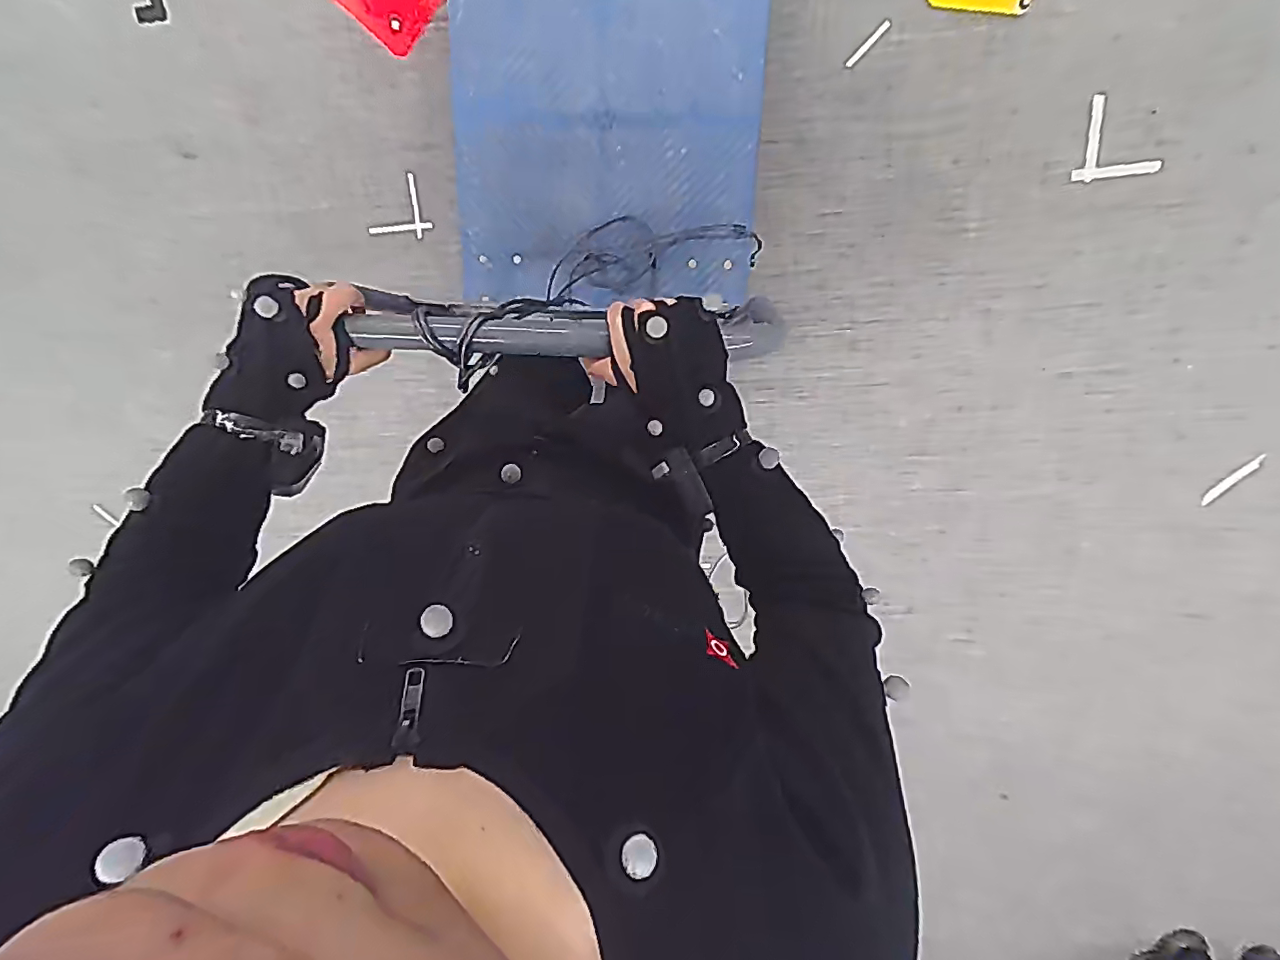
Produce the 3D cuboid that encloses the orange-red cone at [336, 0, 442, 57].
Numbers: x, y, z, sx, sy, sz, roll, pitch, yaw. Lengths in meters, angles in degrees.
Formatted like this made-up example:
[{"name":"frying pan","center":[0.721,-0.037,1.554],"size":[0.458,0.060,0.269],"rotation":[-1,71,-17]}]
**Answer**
[{"name":"orange-red cone","center":[-0.521,-0.969,0.943],"size":[0.198,0.360,0.199],"rotation":[42,103,-9]}]
